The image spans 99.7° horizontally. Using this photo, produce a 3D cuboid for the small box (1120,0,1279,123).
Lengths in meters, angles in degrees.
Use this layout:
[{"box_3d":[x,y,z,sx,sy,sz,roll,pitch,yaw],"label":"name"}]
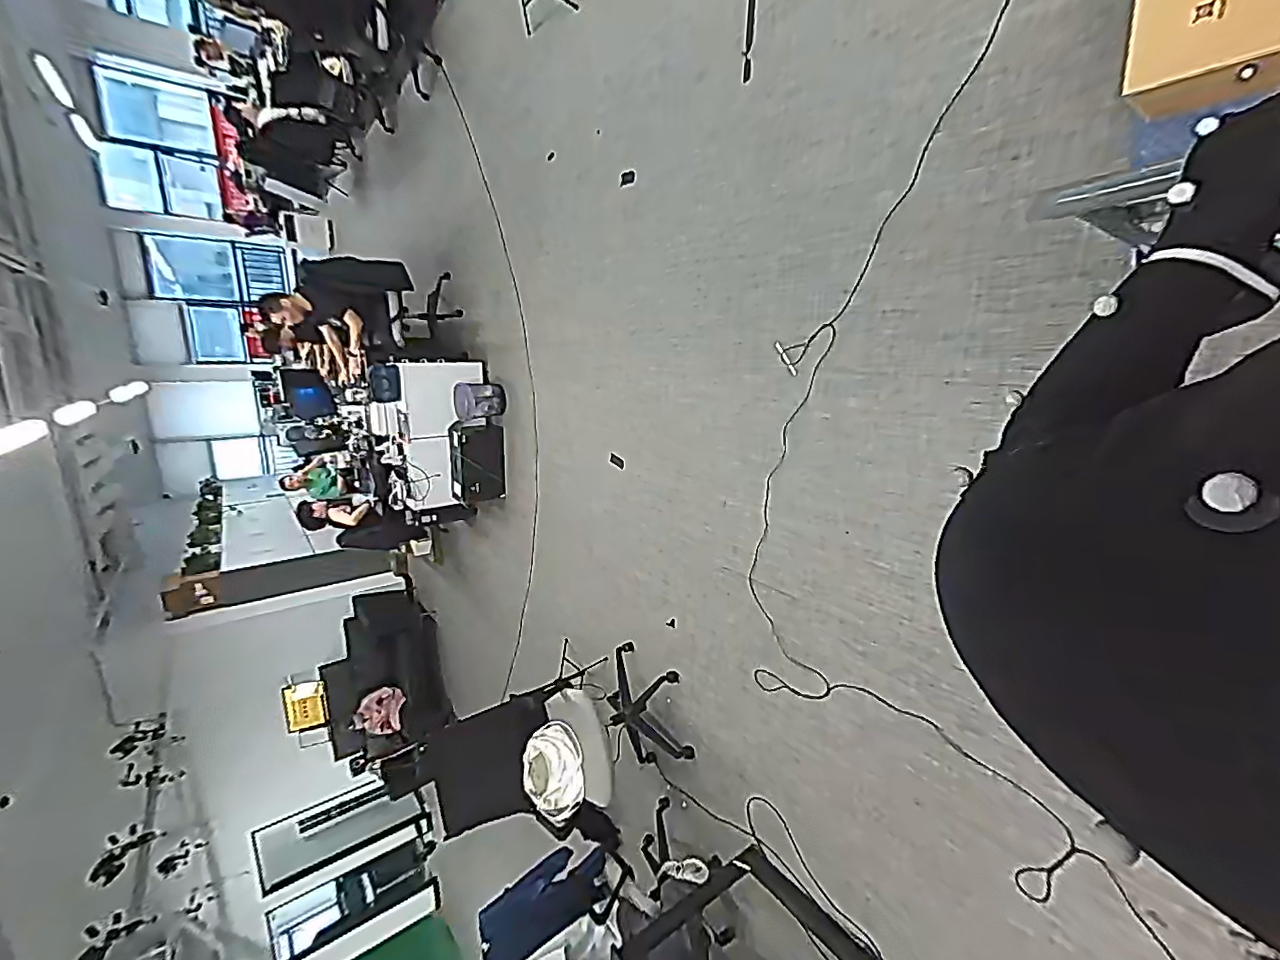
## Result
[{"box_3d":[0.877,-0.680,0.824,0.179,0.176,0.168,13,108,50],"label":"small box"}]
